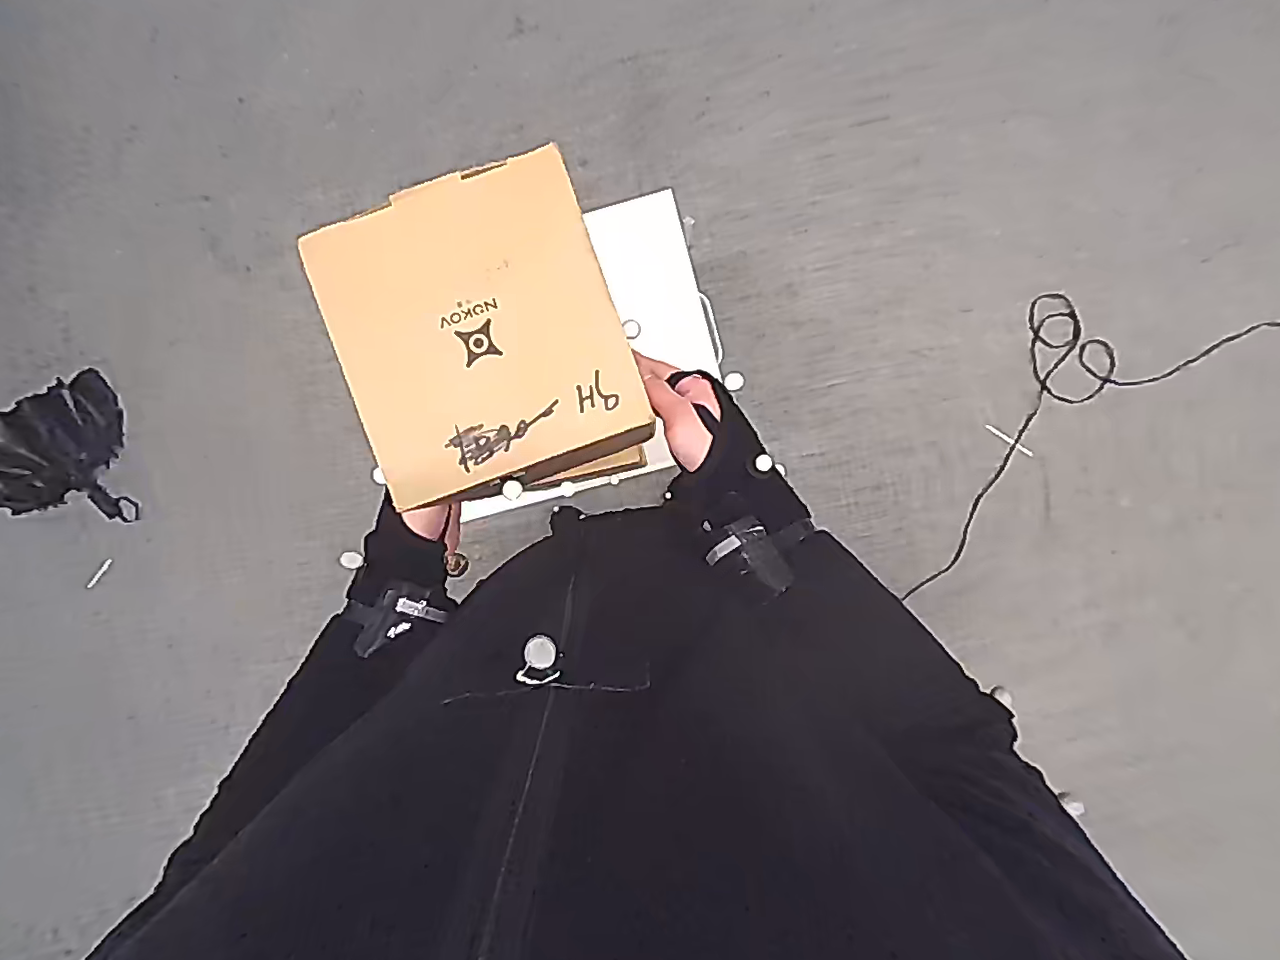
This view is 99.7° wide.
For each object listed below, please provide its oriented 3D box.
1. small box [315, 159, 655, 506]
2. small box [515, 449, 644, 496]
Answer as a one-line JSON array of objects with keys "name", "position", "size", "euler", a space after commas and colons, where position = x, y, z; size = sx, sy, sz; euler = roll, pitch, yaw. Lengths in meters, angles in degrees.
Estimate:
[{"name": "small box", "position": [-0.093, -0.088, 0.406], "size": [0.168, 0.176, 0.179], "euler": [-19, 89, 2]}, {"name": "small box", "position": [-0.091, -0.082, 0.734], "size": [0.168, 0.176, 0.179], "euler": [-13, 89, 1]}]
